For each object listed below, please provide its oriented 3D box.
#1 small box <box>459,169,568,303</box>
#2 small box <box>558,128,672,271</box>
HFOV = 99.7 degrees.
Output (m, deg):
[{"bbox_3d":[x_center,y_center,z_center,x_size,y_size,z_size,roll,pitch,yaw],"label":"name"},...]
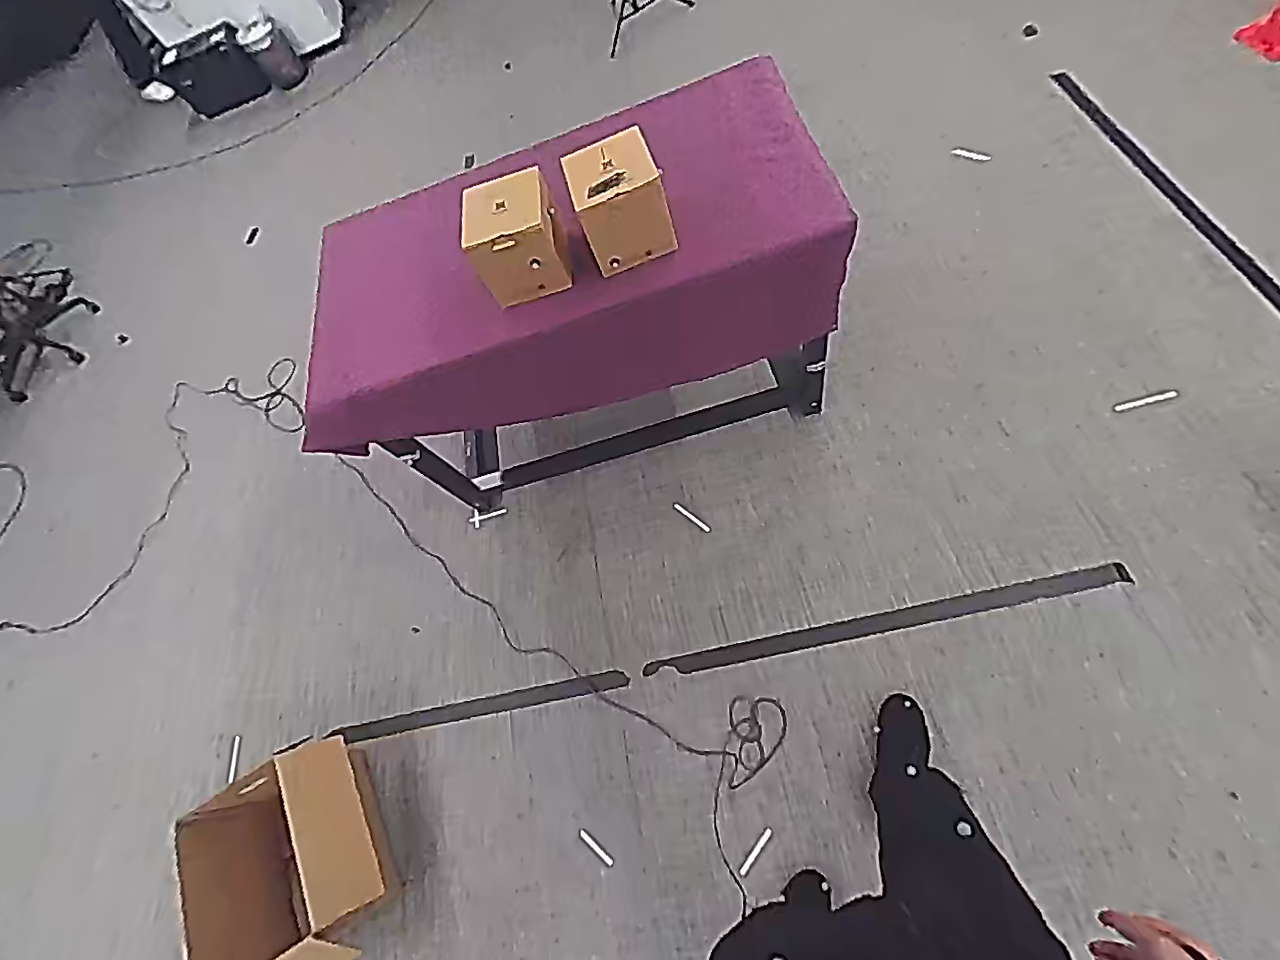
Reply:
[{"bbox_3d":[-0.256,-0.494,1.122,0.168,0.176,0.179,-12,63,9],"label":"small box"},{"bbox_3d":[-0.045,-0.550,1.086,0.168,0.176,0.179,-20,61,7],"label":"small box"}]
